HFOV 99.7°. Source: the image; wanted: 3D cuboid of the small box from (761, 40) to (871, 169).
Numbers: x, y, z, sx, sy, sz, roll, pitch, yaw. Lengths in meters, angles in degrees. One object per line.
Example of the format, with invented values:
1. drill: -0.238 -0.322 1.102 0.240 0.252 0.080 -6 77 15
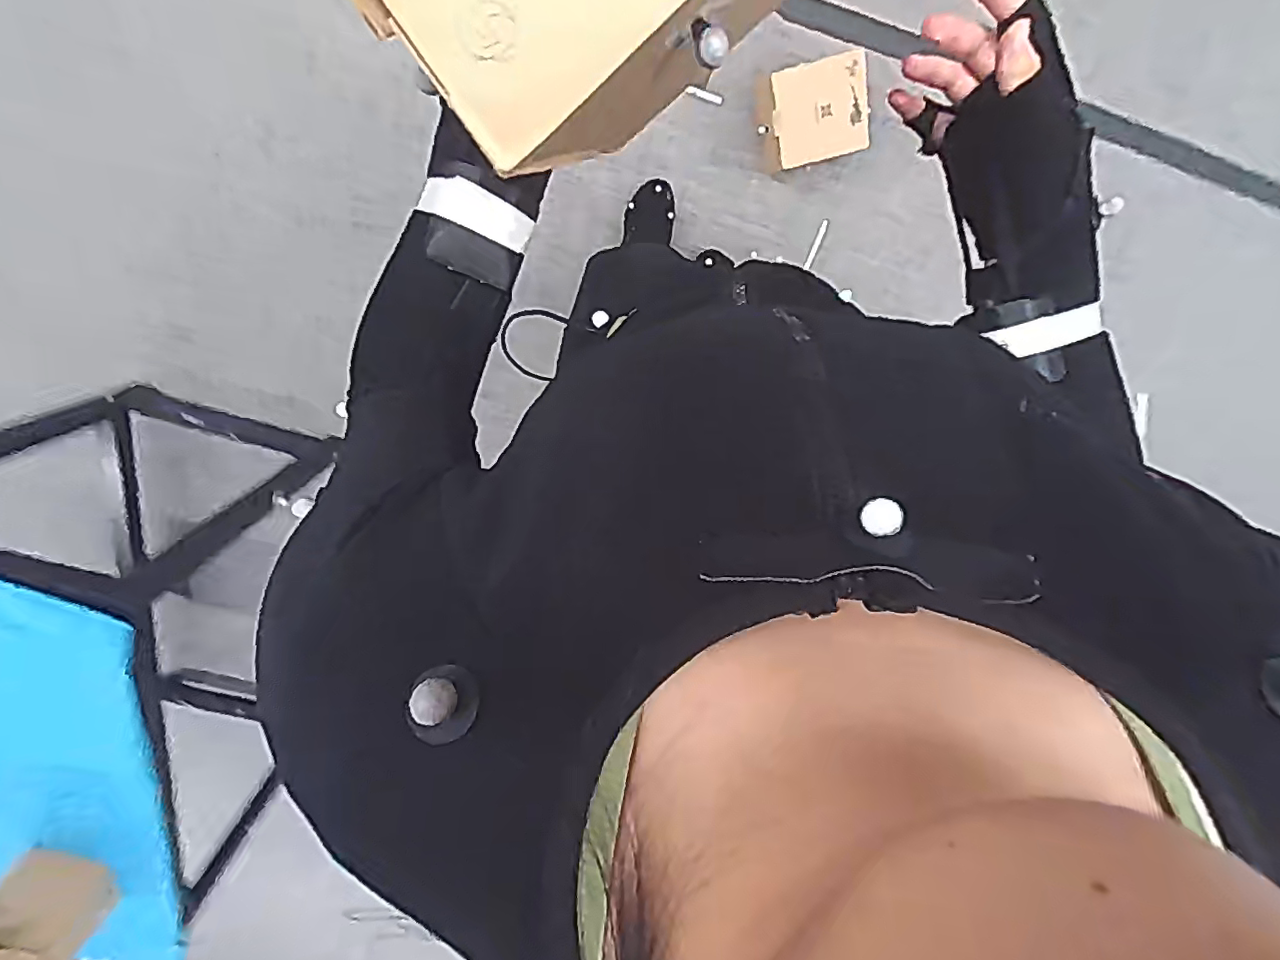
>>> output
1. small box: 0.351 -0.752 1.106 0.179 0.176 0.168 -13 116 7

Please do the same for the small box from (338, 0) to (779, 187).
1. small box: -0.021 -0.247 0.202 0.179 0.176 0.168 -26 114 30
